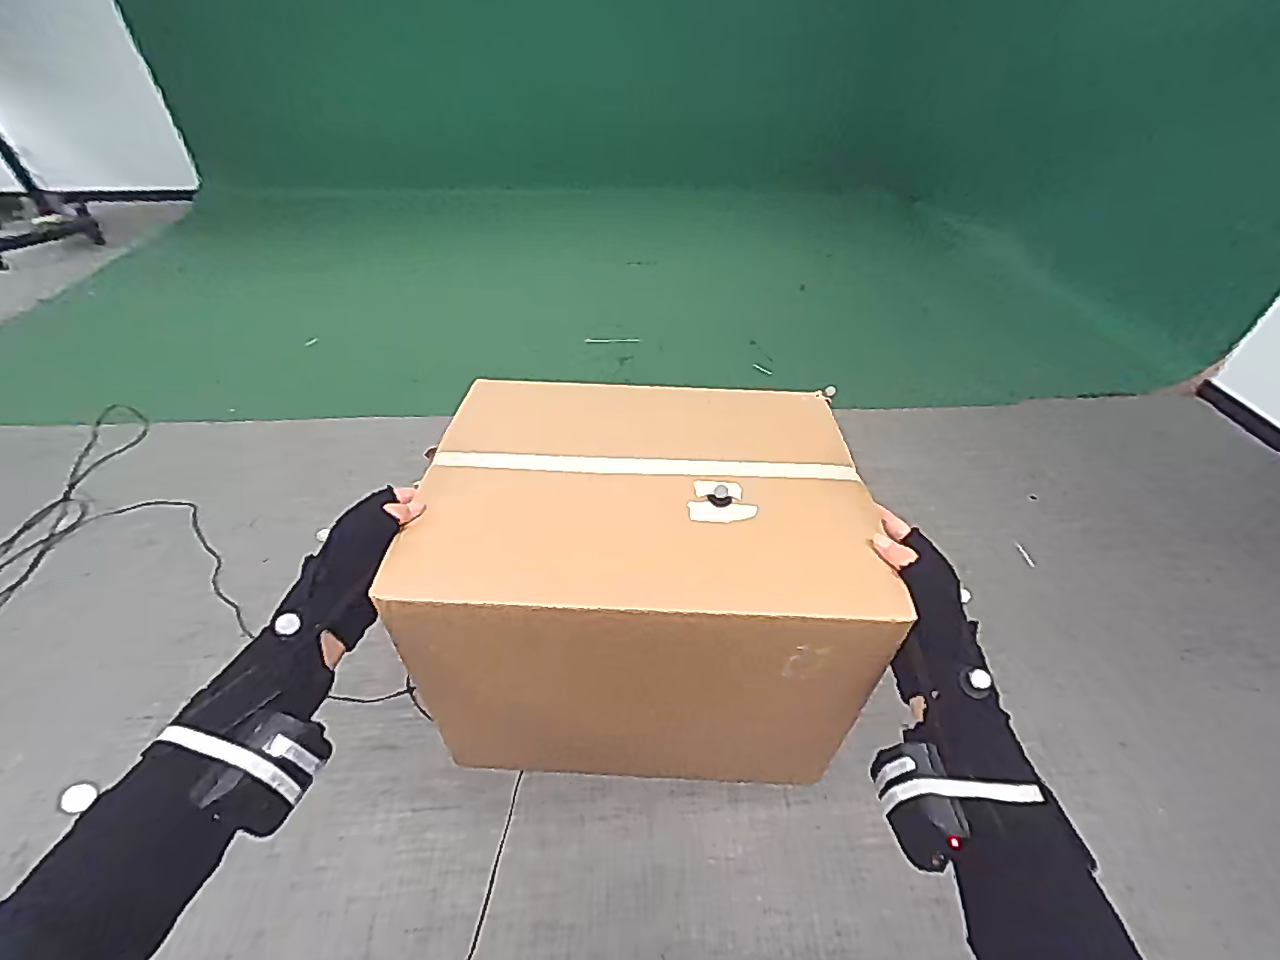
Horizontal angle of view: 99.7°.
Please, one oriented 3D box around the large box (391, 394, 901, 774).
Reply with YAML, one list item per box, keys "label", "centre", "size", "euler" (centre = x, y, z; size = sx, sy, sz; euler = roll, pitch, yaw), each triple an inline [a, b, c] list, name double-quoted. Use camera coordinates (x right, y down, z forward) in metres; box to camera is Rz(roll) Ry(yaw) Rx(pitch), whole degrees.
- label: "large box"
  centre: [0.001, 0.115, 0.621]
  size: [0.408, 0.320, 0.320]
  euler: [2, 41, -1]
